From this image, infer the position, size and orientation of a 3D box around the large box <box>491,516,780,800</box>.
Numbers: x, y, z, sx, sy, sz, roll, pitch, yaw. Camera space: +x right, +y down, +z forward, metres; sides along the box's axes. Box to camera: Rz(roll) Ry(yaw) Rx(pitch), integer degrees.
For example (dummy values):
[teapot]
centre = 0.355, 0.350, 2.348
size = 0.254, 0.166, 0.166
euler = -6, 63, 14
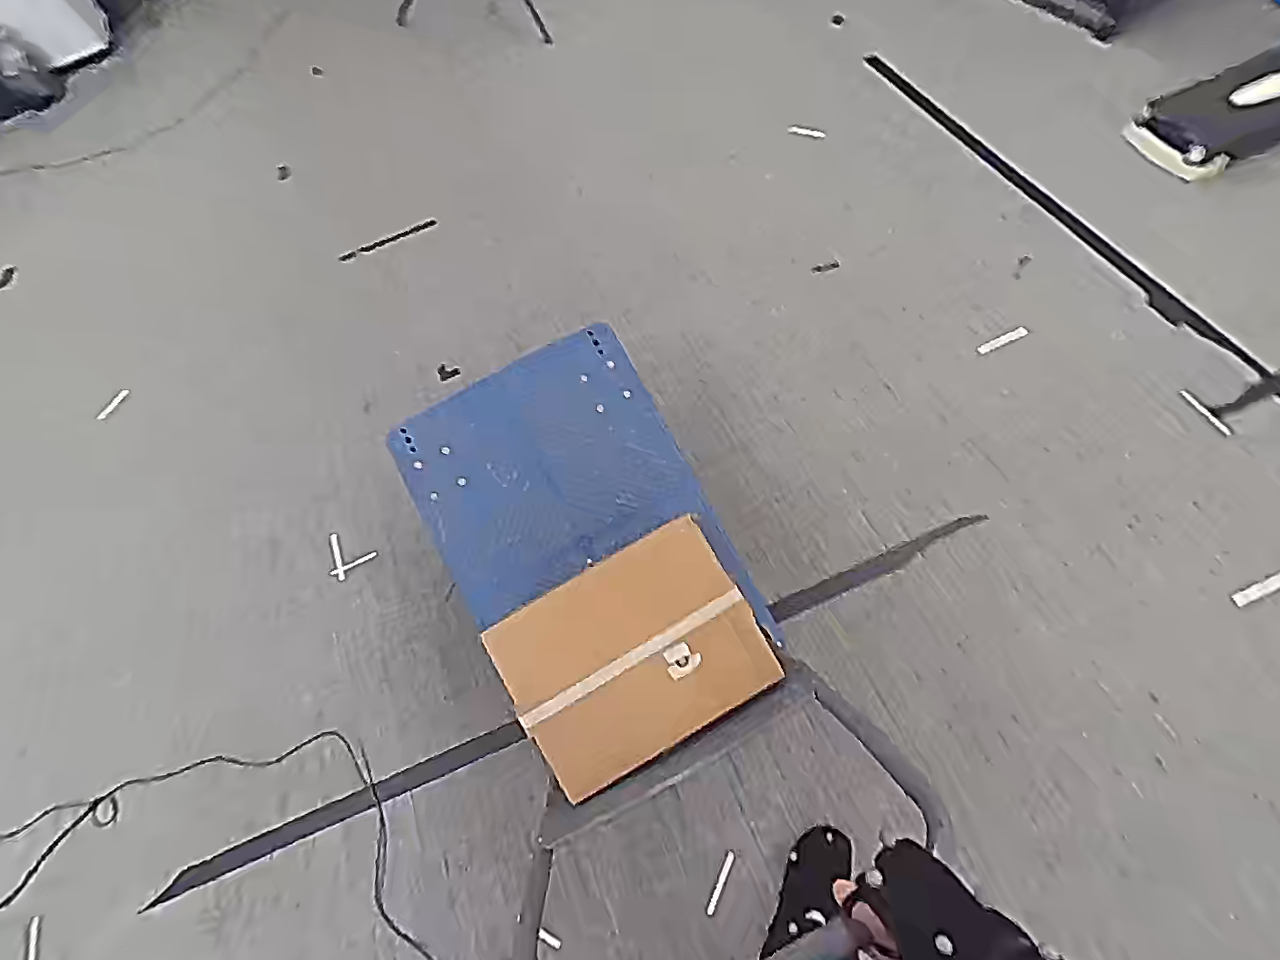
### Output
[large box]
centre = -0.012, 0.310, 1.052
size = 0.408, 0.320, 0.320
euler = -30, 86, -5
